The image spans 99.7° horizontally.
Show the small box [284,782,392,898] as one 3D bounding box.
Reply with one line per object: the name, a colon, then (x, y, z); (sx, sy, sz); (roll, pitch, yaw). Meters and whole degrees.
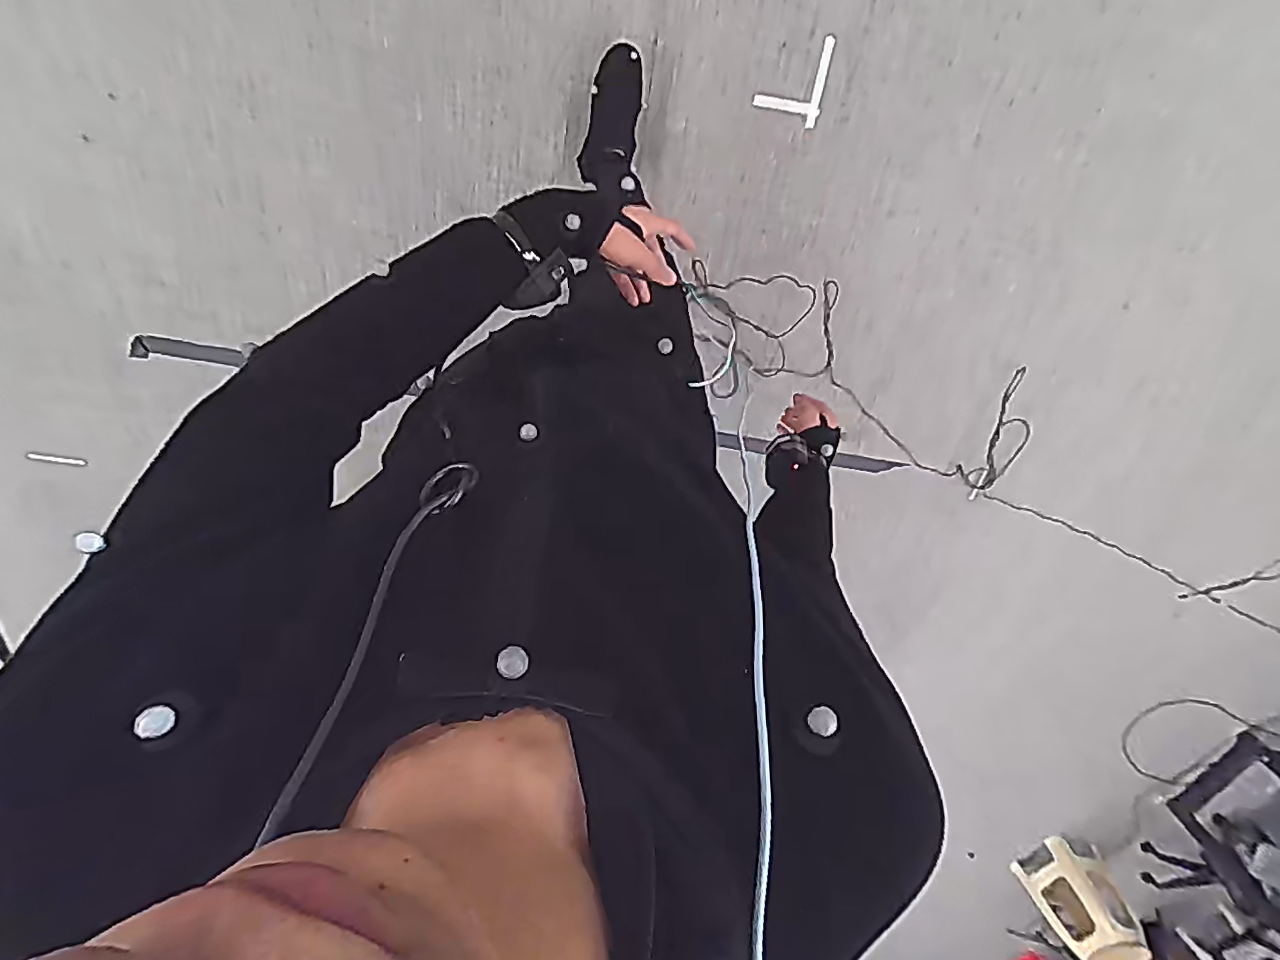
small box: (-0.689, 0.829, 1.253); (0.168, 0.176, 0.179); (9, 119, -7)
